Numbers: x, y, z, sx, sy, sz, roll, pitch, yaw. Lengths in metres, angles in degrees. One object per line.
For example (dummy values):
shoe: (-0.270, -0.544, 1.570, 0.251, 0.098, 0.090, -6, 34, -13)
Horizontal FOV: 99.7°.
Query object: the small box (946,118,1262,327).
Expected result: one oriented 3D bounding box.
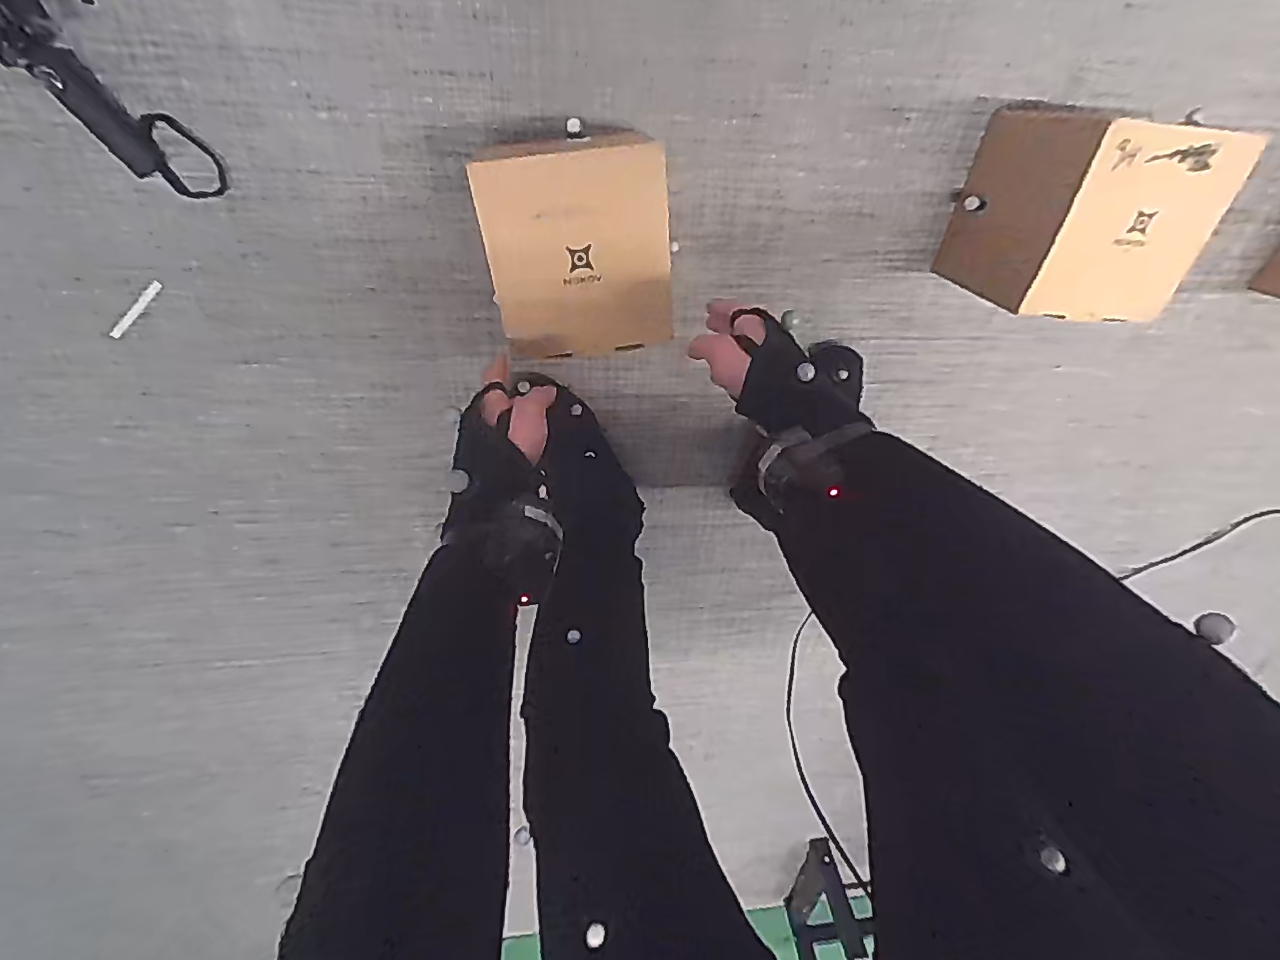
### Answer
small box: (0.479, -0.288, 0.601, 0.168, 0.176, 0.179, 1, 125, -7)
